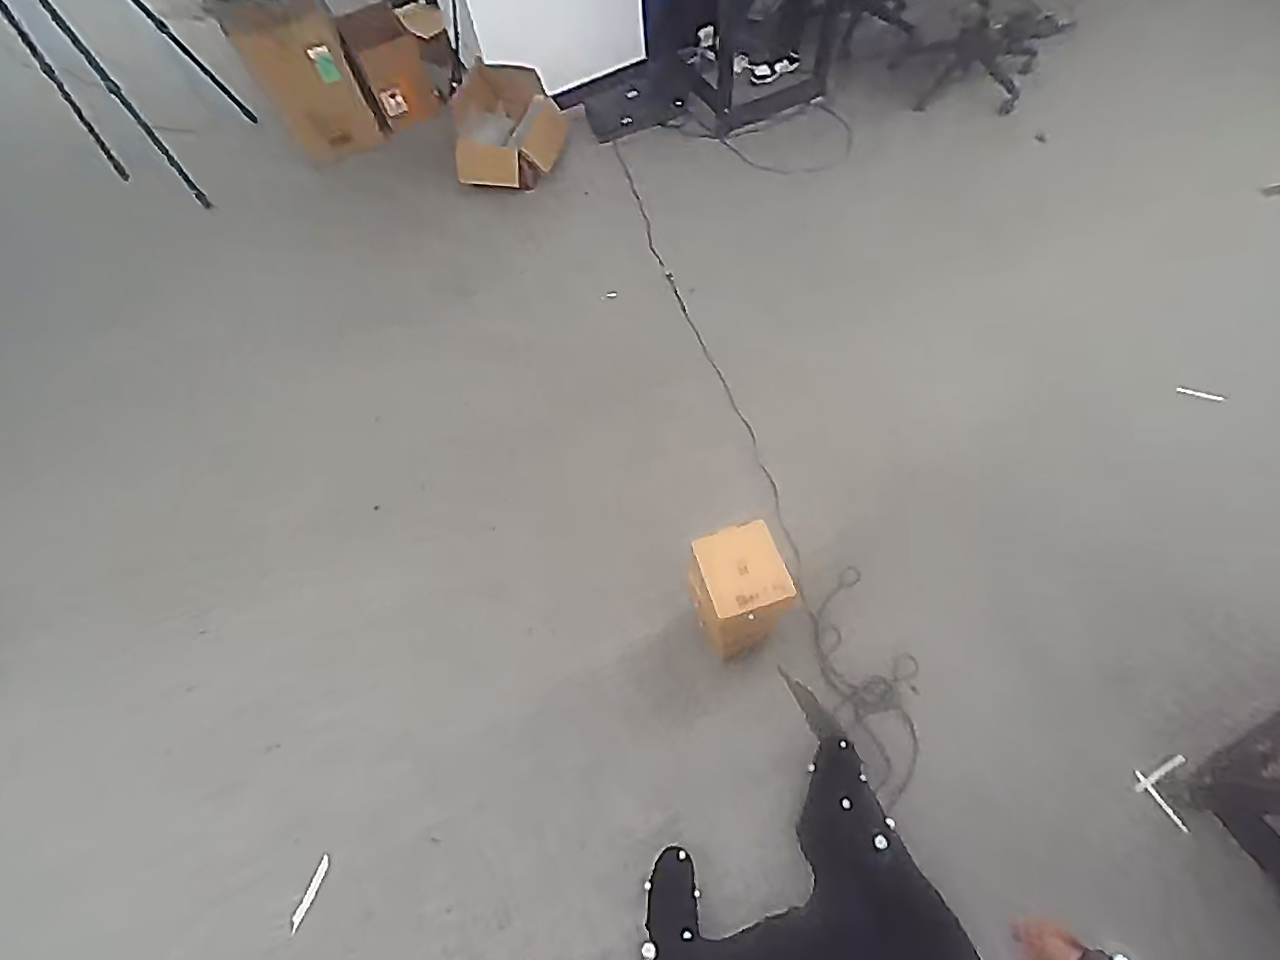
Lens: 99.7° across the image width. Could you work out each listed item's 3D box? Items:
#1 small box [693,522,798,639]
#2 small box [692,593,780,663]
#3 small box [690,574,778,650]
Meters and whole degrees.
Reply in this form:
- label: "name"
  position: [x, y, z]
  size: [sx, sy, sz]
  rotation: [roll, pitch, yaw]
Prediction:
- label: "small box"
  position: [0.217, 0.220, 1.163]
  size: [0.168, 0.176, 0.179]
  rotation: [-18, 61, -2]
- label: "small box"
  position: [0.251, 0.367, 1.453]
  size: [0.168, 0.176, 0.179]
  rotation: [-26, 63, -6]
- label: "small box"
  position: [0.235, 0.293, 1.310]
  size: [0.179, 0.176, 0.168]
  rotation: [-24, 62, -6]
